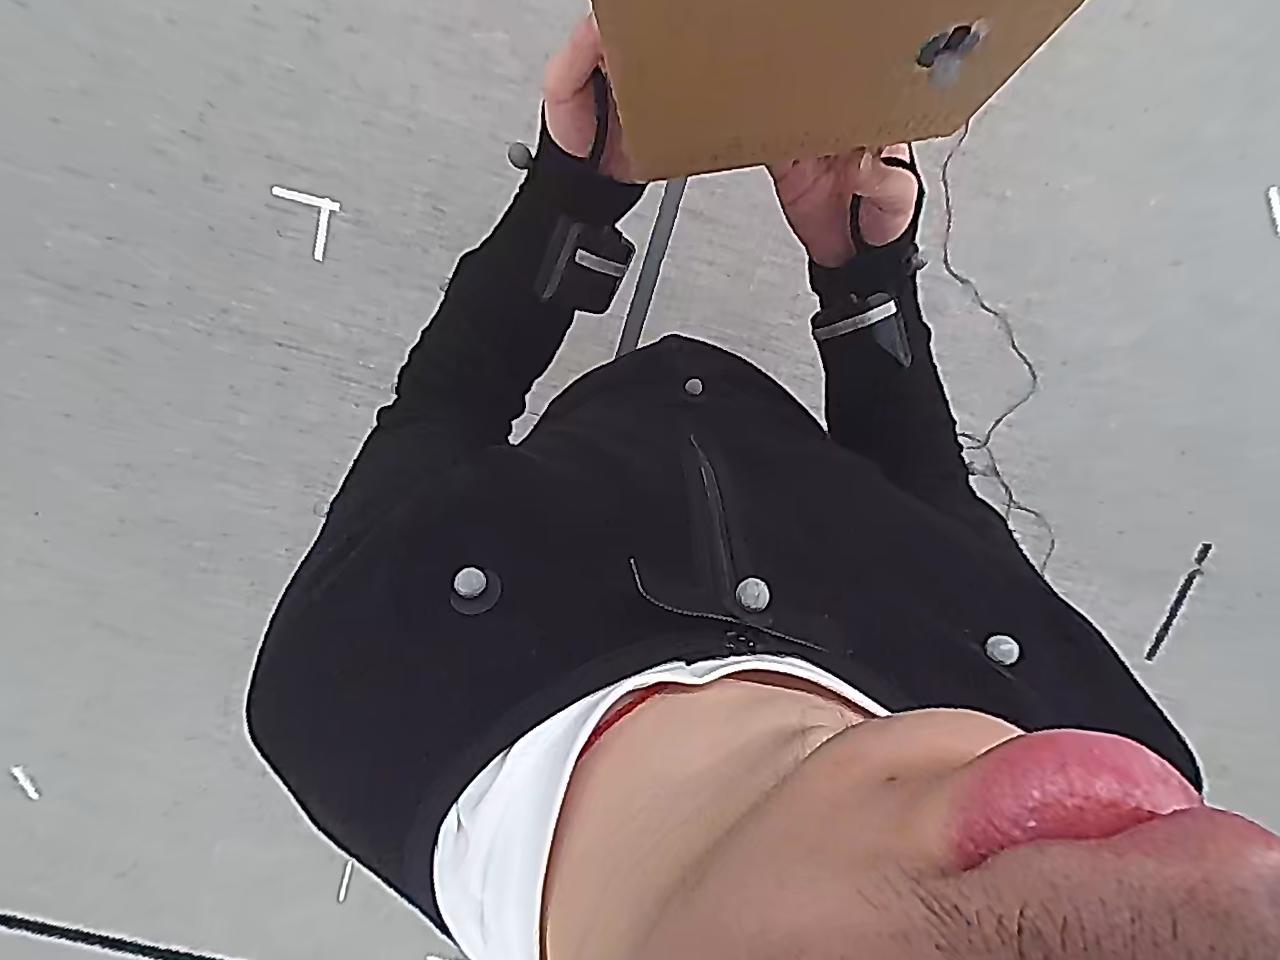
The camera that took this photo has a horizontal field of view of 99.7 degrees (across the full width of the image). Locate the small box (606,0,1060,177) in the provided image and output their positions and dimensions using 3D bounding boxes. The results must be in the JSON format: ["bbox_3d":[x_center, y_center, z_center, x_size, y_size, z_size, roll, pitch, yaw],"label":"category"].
[{"bbox_3d":[0.071,-0.253,0.221,0.179,0.176,0.168,-6,96,7],"label":"small box"}]
